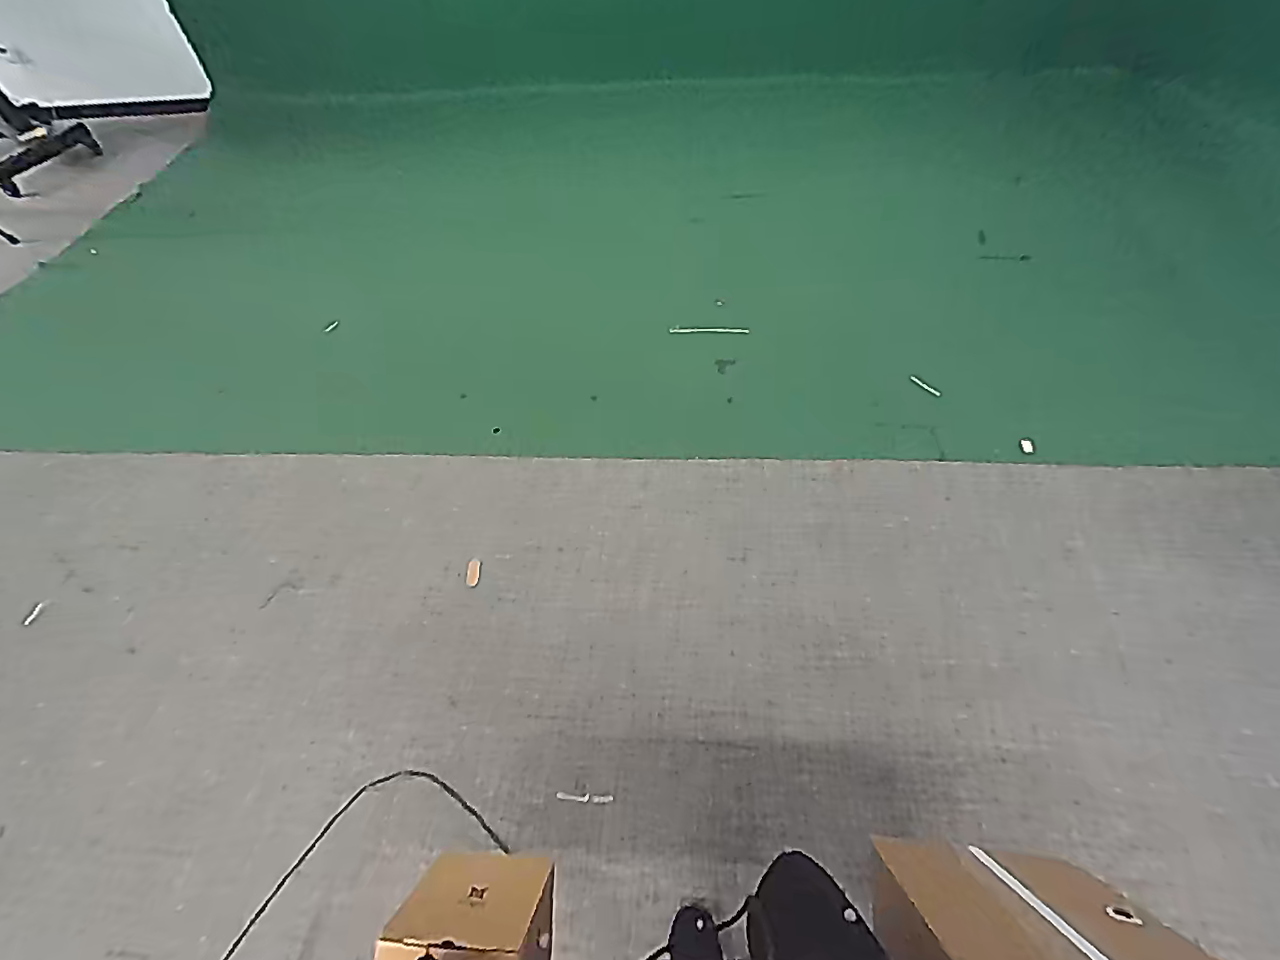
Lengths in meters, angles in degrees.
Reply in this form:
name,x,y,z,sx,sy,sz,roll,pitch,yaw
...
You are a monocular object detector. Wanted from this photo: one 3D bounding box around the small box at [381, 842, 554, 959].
name,x,y,z,sx,sy,sz,roll,pitch,yaw
small box,-0.212,0.600,0.682,0.168,0.179,0.176,1,87,4
